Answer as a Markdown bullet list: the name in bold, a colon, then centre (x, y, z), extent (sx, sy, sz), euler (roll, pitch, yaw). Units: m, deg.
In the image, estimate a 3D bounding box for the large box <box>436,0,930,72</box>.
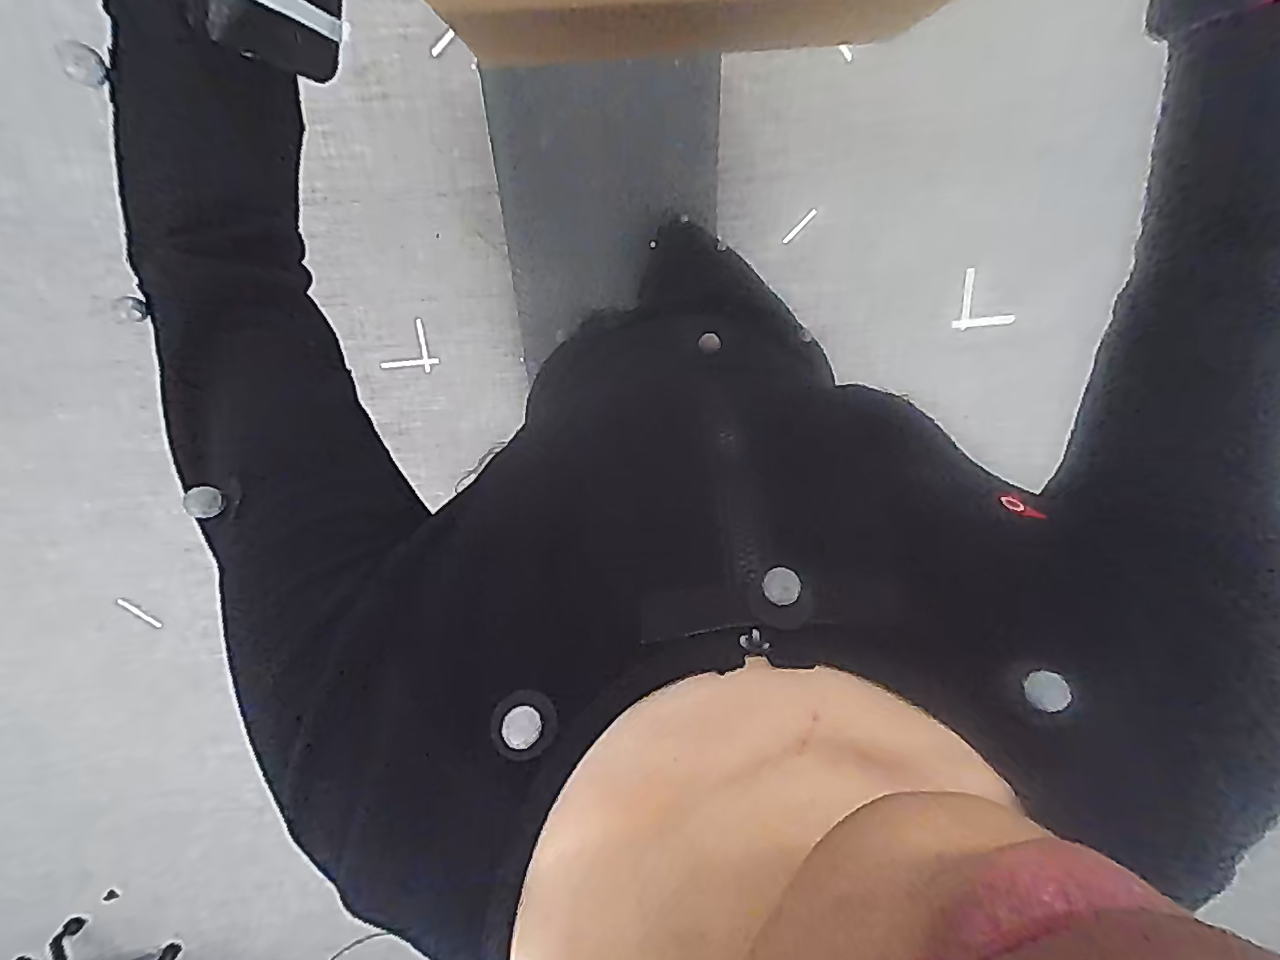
- **large box**: centre (0.040, -0.493, 0.332), extent (0.408, 0.320, 0.320), euler (-4, 116, 0)
